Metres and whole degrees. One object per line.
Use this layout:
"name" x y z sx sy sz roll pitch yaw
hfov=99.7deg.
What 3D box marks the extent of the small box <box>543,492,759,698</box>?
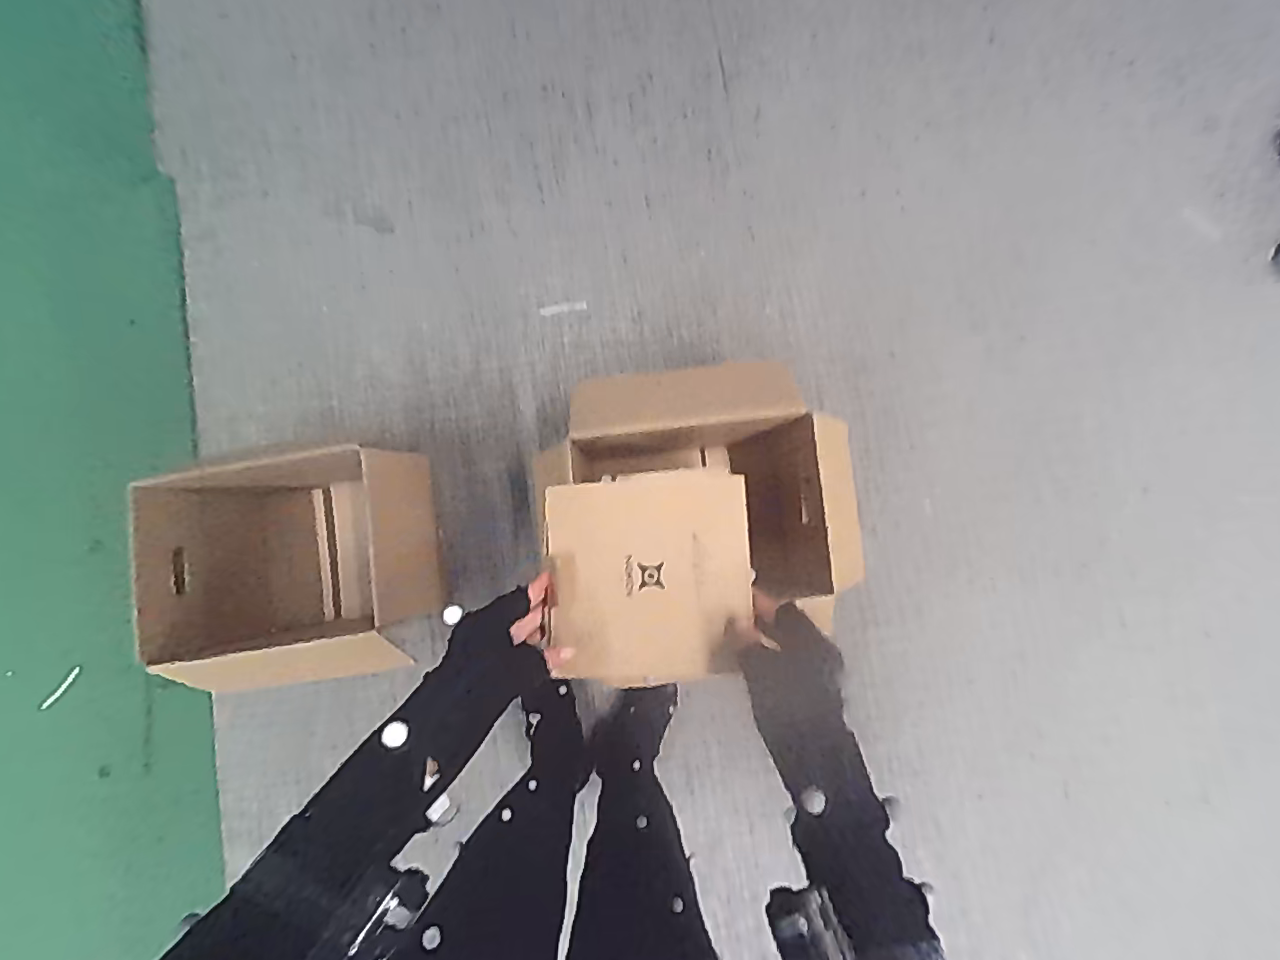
"small box" 0.012 0.106 0.532 0.179 0.176 0.168 -5 83 3
